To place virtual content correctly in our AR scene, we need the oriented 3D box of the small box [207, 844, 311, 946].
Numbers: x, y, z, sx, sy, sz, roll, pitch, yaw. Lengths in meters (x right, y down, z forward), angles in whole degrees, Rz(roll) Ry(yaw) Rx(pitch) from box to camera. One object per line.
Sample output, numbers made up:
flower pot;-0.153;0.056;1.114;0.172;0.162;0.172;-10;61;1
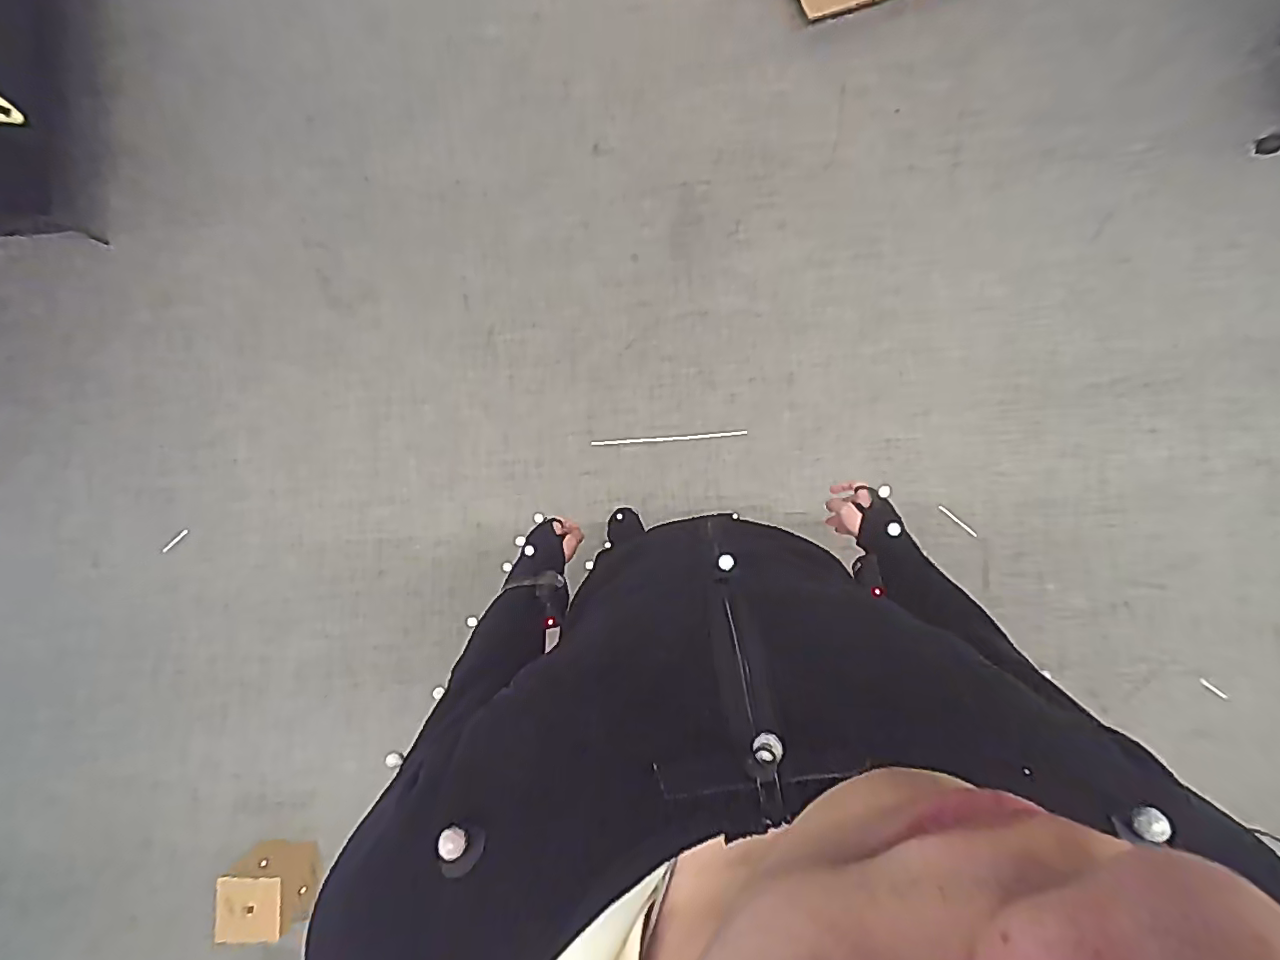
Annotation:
small box;-1.042;1.138;1.494;0.179;0.176;0.168;0;86;0
